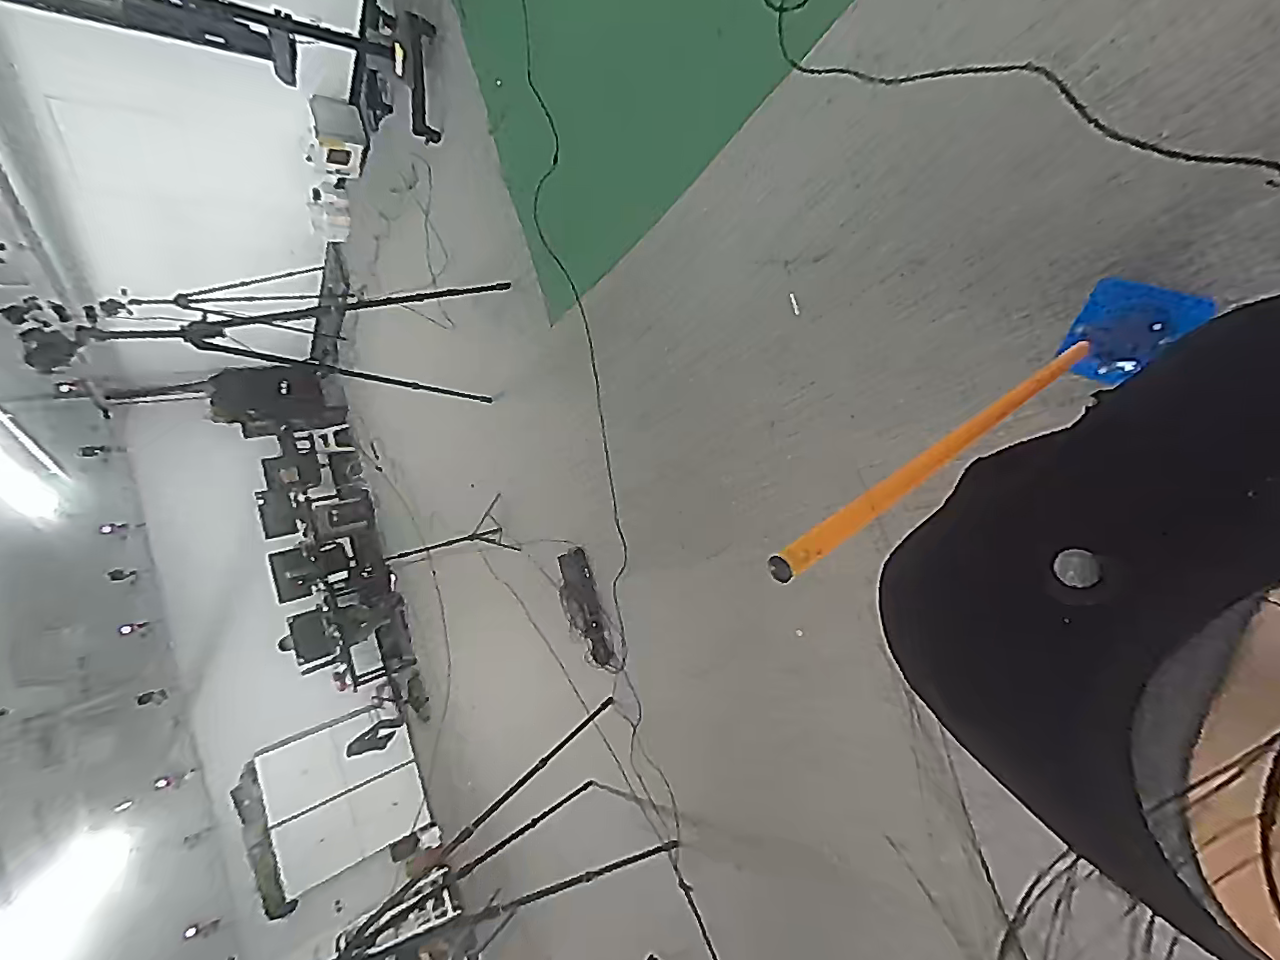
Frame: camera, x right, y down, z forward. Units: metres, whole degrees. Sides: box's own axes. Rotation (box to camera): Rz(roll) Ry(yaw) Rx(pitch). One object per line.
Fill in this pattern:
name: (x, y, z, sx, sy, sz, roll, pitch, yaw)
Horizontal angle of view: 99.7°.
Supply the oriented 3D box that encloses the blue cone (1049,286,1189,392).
blue cone: (0.867, -0.255, 1.027, 0.192, 0.380, 0.193, 37, 130, 38)
